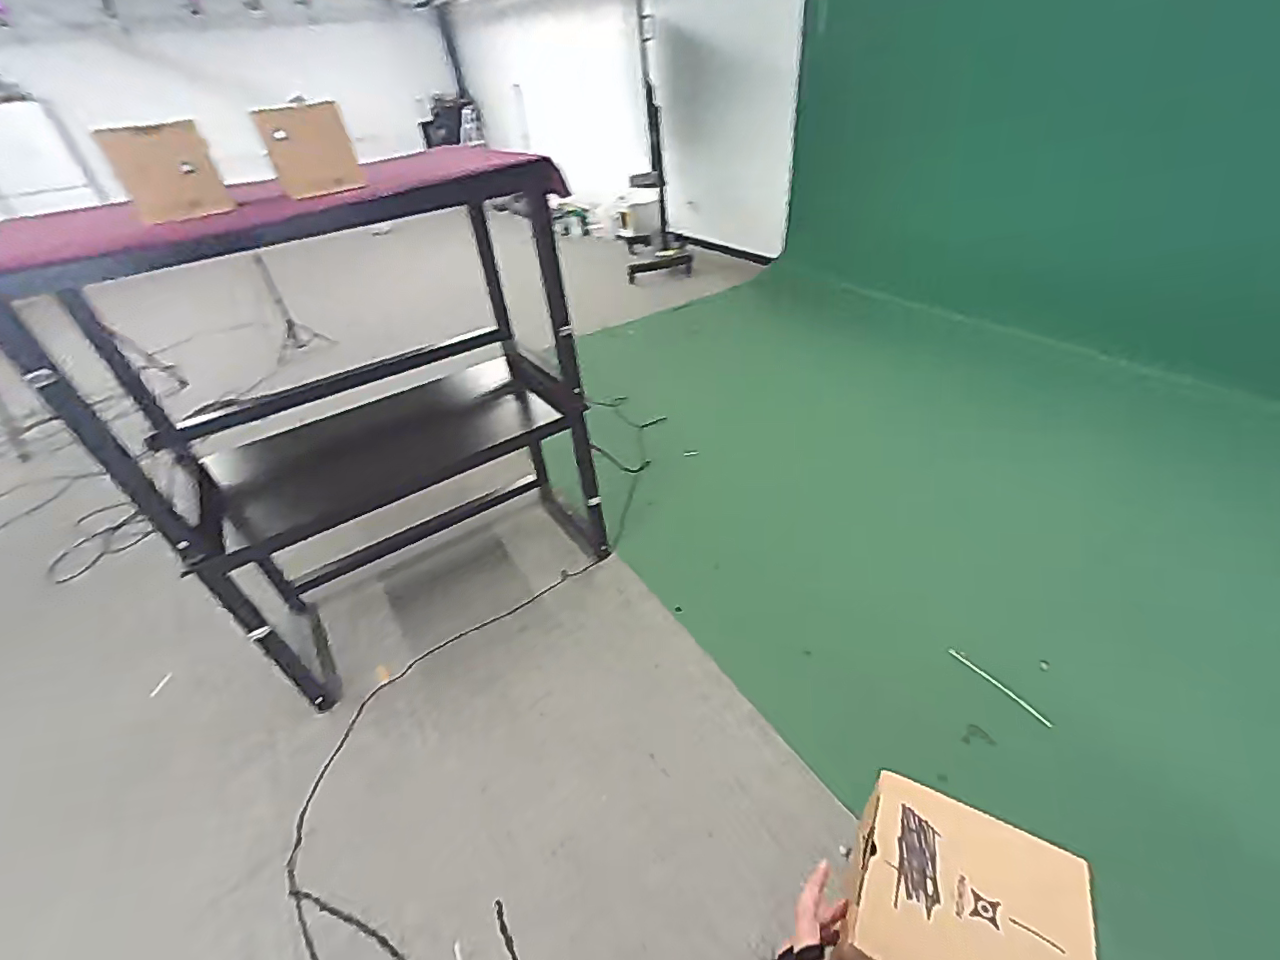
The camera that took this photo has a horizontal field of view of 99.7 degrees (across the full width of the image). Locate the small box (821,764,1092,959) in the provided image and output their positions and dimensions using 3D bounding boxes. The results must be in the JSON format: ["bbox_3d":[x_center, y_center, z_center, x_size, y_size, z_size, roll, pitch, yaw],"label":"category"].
[{"bbox_3d":[0.281,0.417,0.505,0.179,0.176,0.168,17,39,23],"label":"small box"}]

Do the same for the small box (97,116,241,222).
[{"bbox_3d":[-0.970,-0.650,1.133,0.168,0.176,0.179,-24,40,-23],"label":"small box"}]
